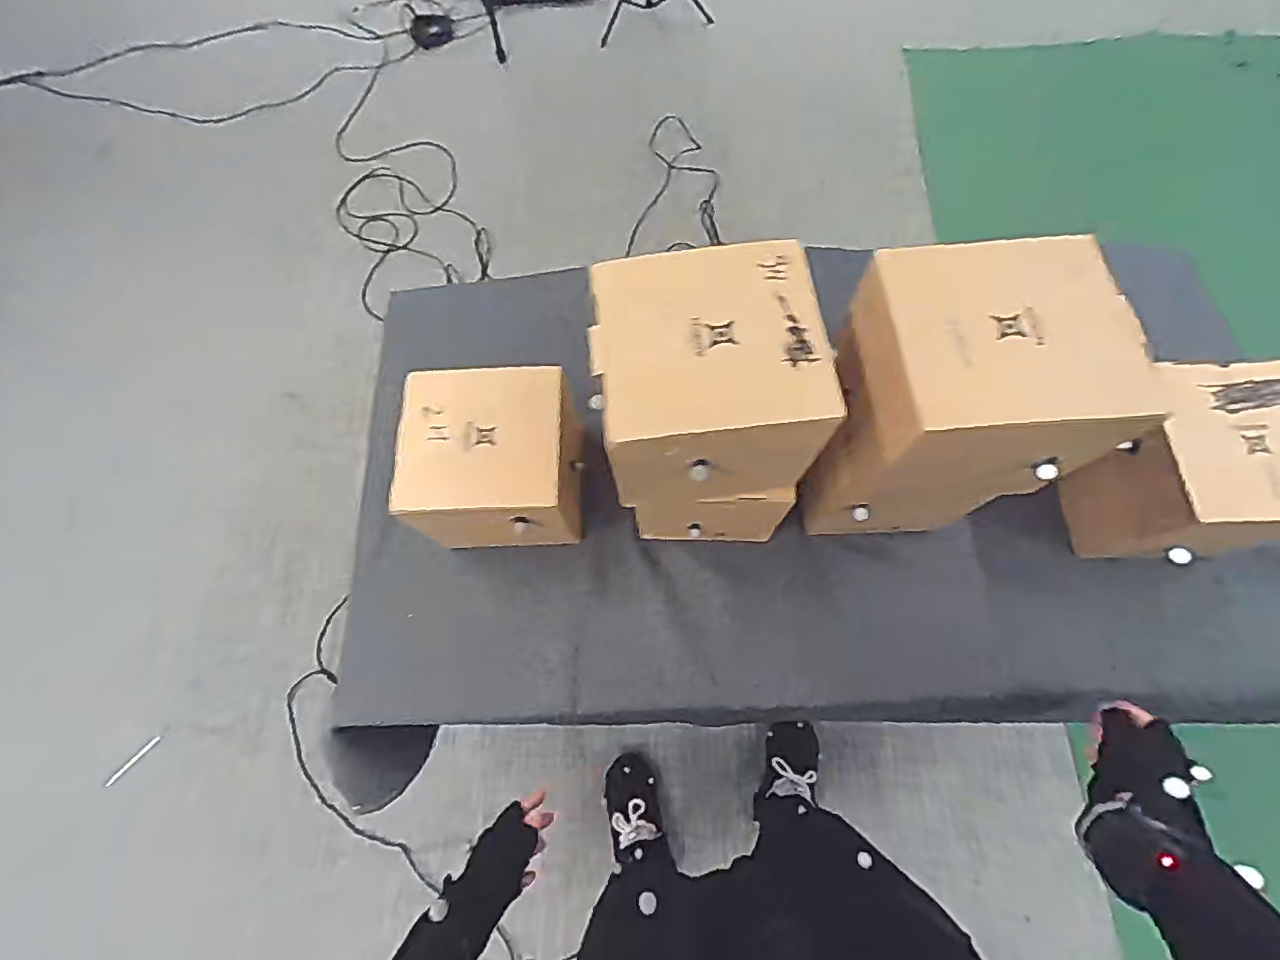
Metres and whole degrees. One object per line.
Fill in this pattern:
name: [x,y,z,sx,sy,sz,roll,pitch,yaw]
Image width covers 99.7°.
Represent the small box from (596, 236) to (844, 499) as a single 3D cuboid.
small box: [0.062,-0.089,0.497,0.179,0.176,0.168,-7,71,2]
